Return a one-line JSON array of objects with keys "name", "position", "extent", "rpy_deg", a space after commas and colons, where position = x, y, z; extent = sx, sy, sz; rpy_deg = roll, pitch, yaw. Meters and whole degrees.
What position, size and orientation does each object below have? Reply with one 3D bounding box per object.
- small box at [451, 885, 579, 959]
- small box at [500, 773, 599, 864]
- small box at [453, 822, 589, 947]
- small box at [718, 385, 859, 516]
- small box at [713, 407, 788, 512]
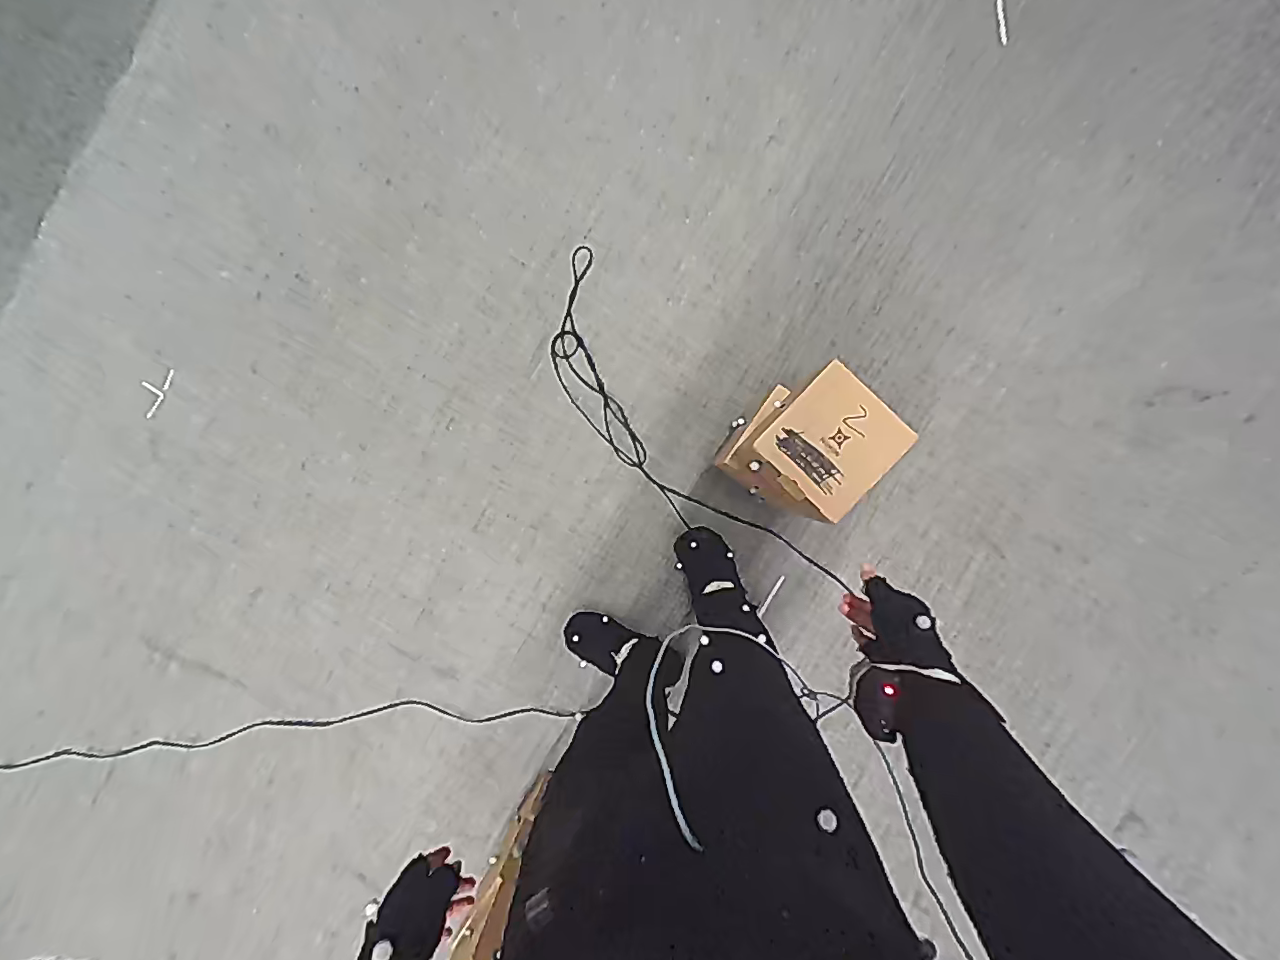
[{"name": "small box", "position": [-0.220, 0.827, 0.888], "extent": [0.179, 0.176, 0.168], "rpy_deg": [33, 94, 3]}, {"name": "small box", "position": [-0.205, 0.807, 1.214], "extent": [0.168, 0.176, 0.179], "rpy_deg": [33, 93, 2]}, {"name": "small box", "position": [-0.219, 0.818, 1.051], "extent": [0.179, 0.176, 0.168], "rpy_deg": [34, 94, 3]}, {"name": "small box", "position": [0.262, -0.051, 1.008], "extent": [0.179, 0.176, 0.168], "rpy_deg": [35, 92, 1]}, {"name": "small box", "position": [0.275, -0.053, 1.155], "extent": [0.179, 0.176, 0.168], "rpy_deg": [37, 93, 2]}]
